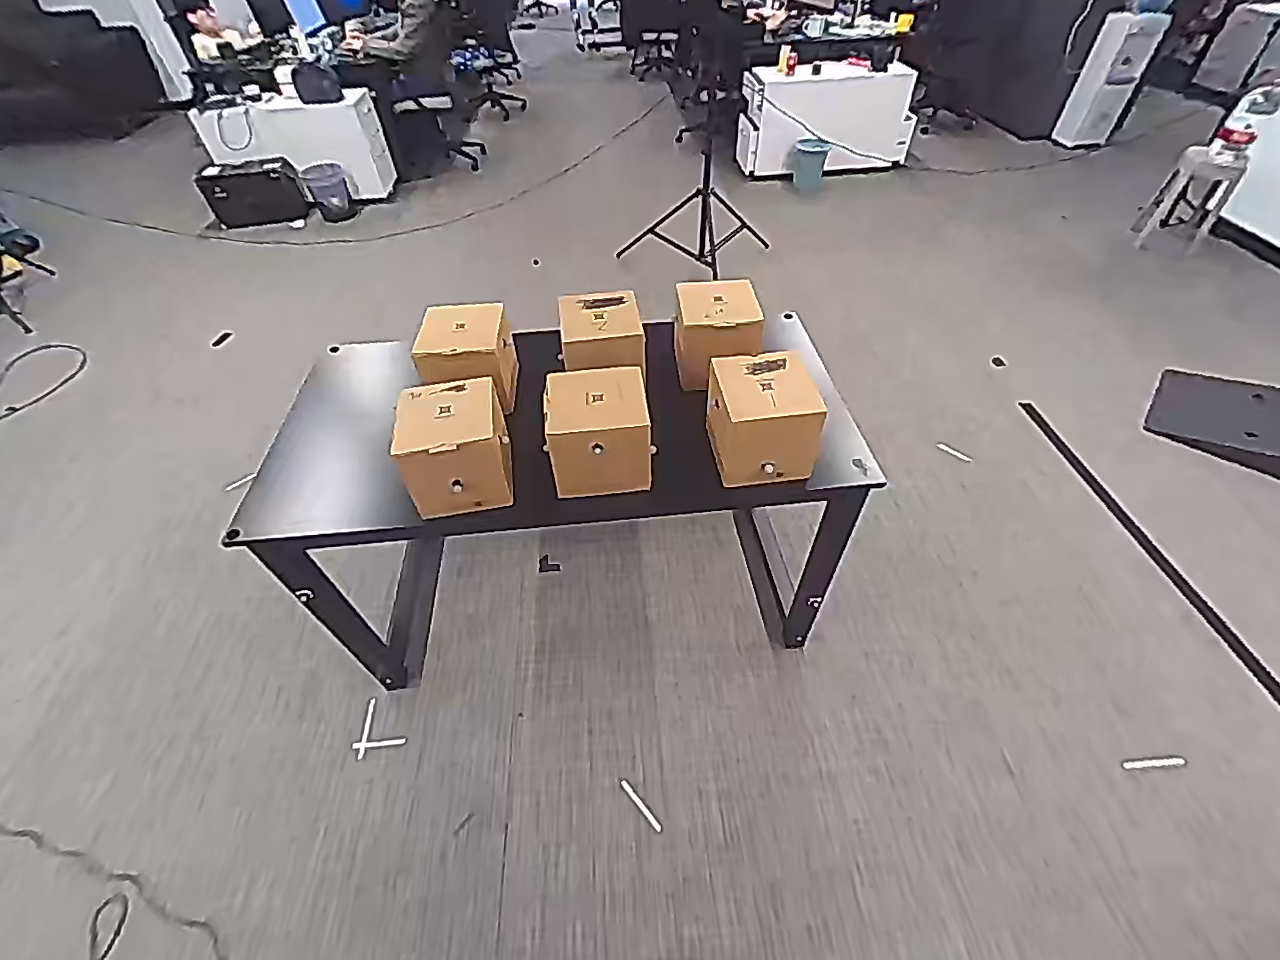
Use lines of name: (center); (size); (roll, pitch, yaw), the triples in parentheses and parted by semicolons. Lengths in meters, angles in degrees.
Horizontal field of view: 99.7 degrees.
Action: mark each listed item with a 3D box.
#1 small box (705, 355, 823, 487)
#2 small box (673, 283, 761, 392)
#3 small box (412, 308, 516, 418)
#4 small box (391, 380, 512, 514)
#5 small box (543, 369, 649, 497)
small box: (0.220, -0.109, 1.013); (0.168, 0.176, 0.179); (-7, 48, -3)
small box: (0.162, -0.317, 1.207); (0.168, 0.176, 0.179); (-4, 48, 0)
small box: (-0.369, -0.250, 1.171); (0.168, 0.176, 0.179); (-4, 48, -2)
small box: (-0.334, -0.054, 0.988); (0.168, 0.176, 0.179); (-10, 48, -6)
small box: (-0.079, -0.084, 1.006); (0.179, 0.176, 0.168); (-6, 48, -4)
